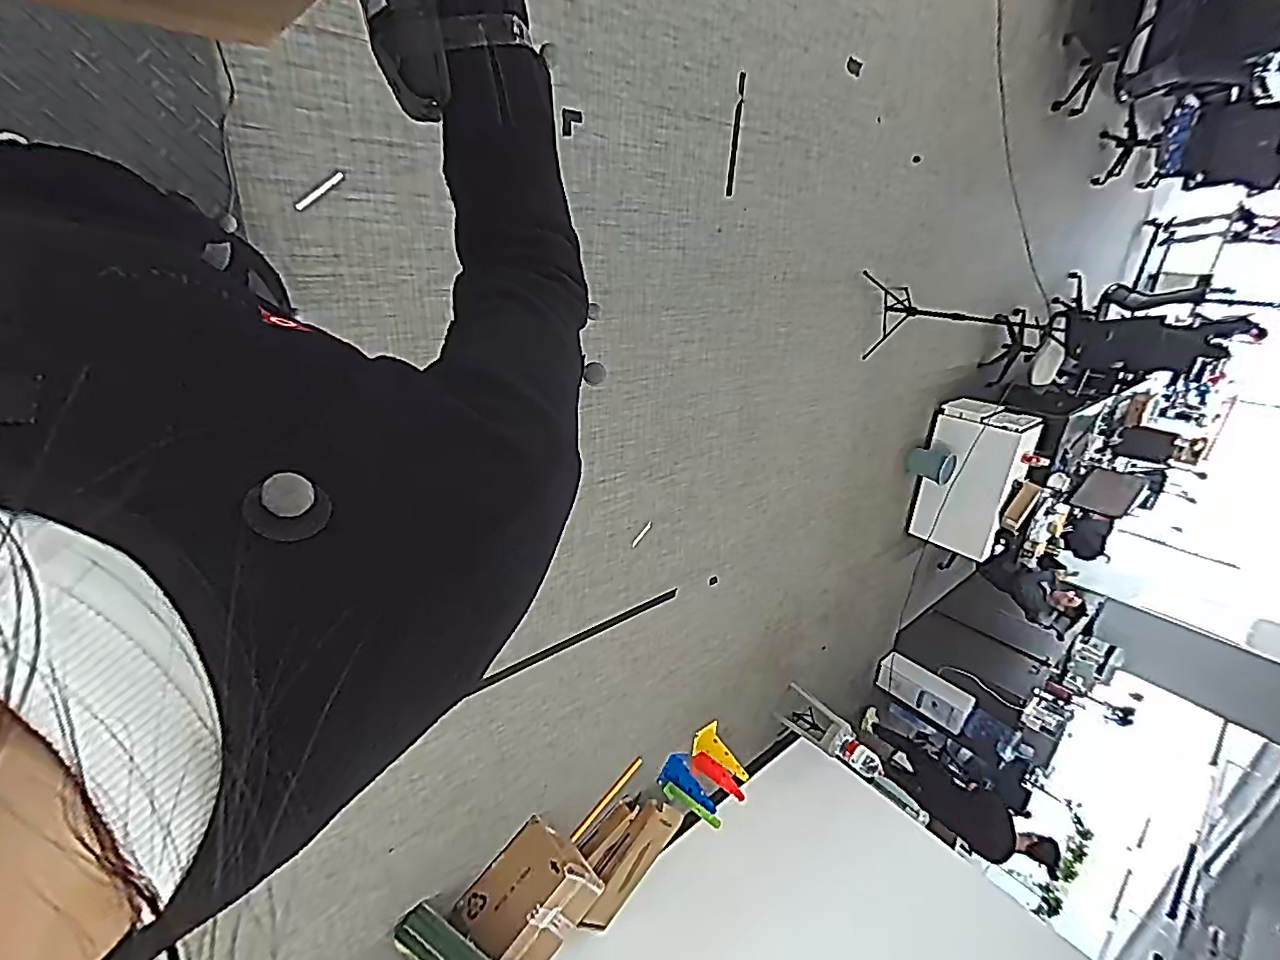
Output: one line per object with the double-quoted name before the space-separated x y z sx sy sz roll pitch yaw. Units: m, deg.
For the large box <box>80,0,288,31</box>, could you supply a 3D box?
"large box" -0.383 -0.415 0.191 0.408 0.320 0.320 -18 126 -36
